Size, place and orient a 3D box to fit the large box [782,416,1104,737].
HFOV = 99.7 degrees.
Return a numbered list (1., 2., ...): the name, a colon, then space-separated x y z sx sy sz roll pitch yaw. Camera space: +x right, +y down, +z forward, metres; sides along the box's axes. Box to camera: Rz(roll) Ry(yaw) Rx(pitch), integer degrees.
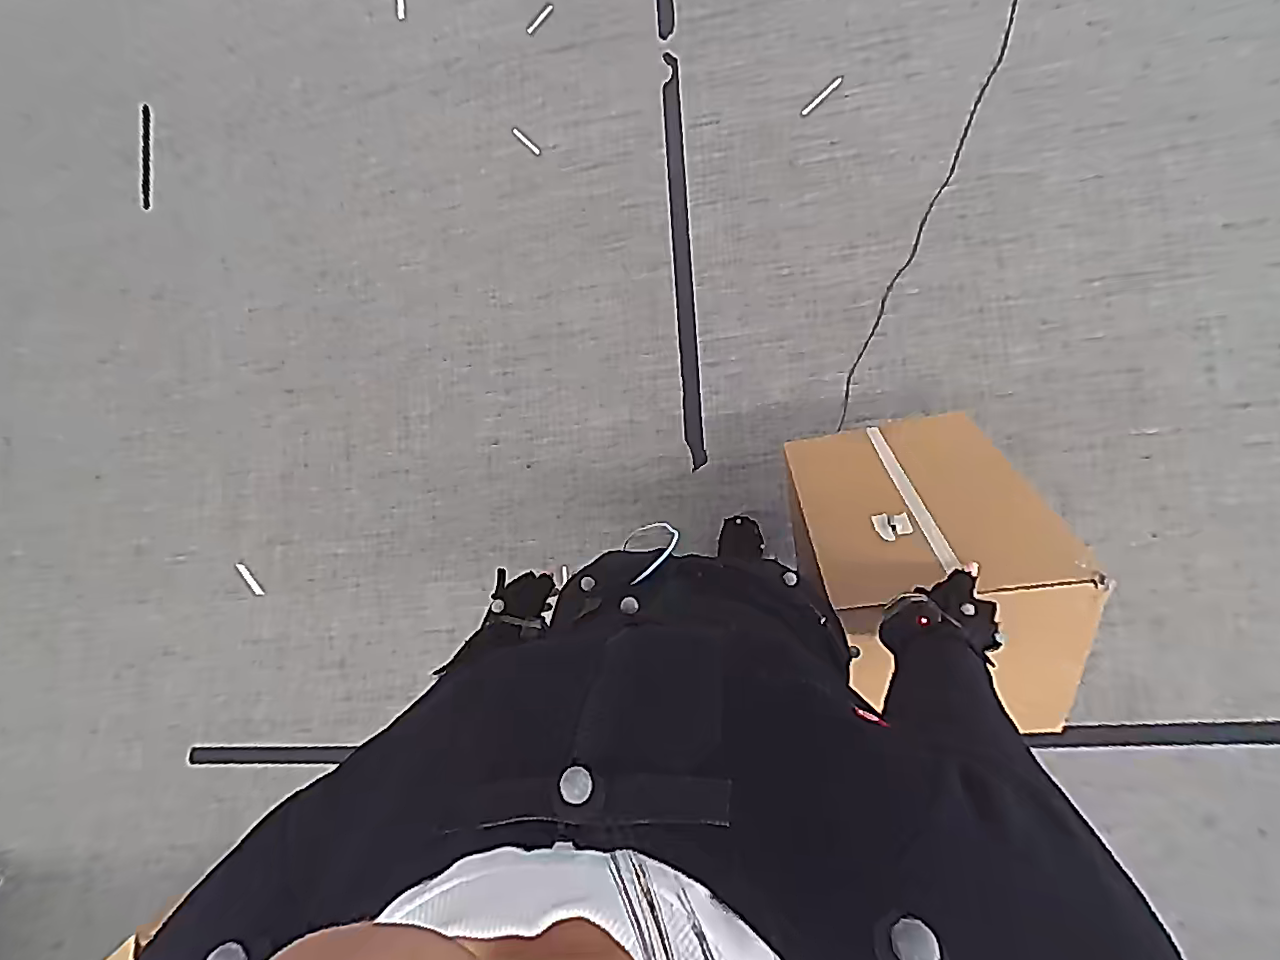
1. large box: 0.435 0.146 0.892 0.320 0.408 0.320 -10 125 12
